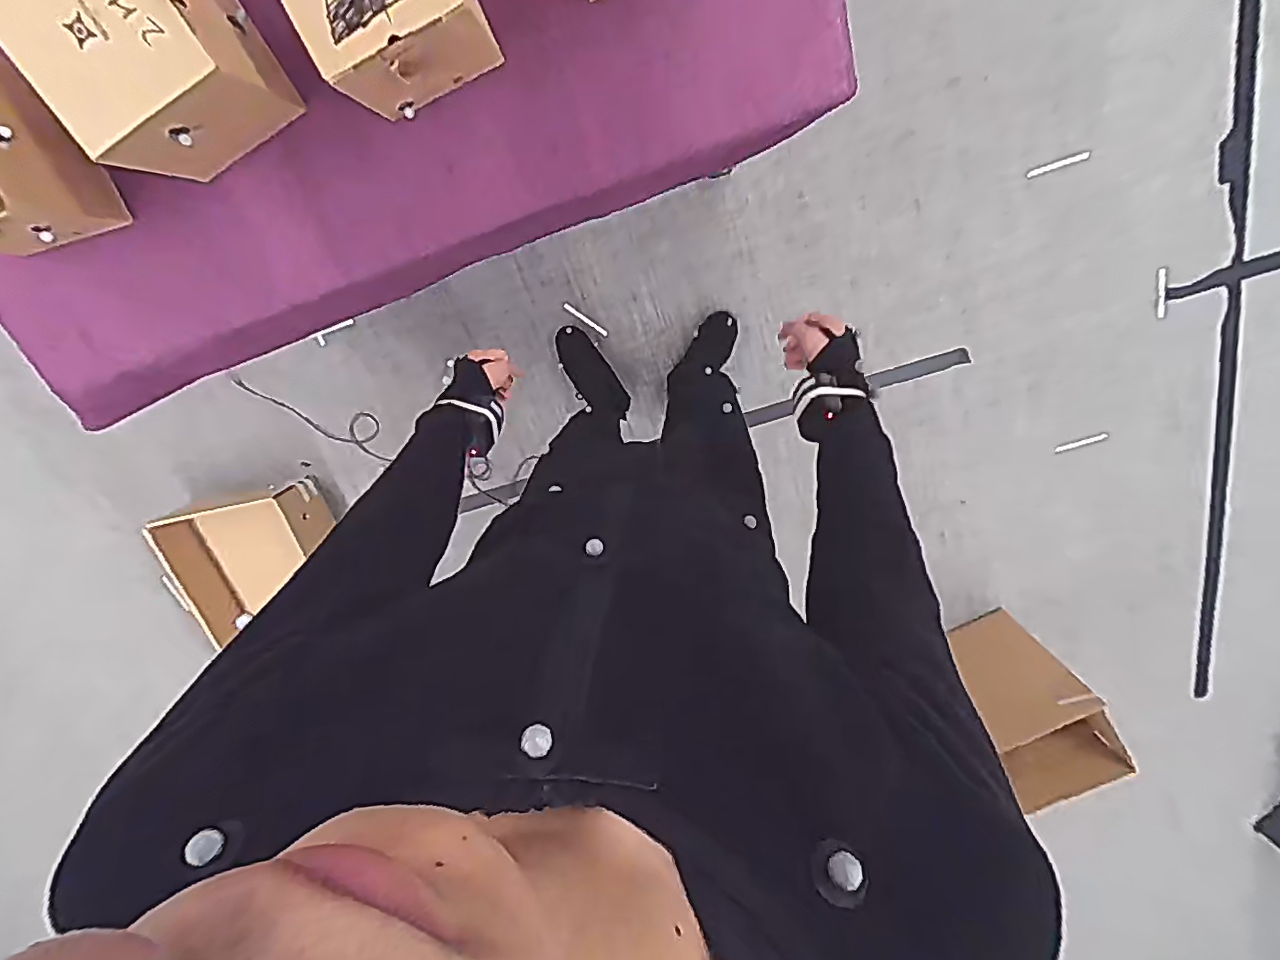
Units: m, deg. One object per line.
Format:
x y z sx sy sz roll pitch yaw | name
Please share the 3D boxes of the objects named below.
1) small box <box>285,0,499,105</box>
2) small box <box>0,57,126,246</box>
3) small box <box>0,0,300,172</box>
-0.272 -0.532 0.571 0.168 0.176 0.179 -22 110 7 | small box
-0.771 -0.376 0.622 0.168 0.176 0.179 -14 111 3 | small box
-0.528 -0.466 0.590 0.179 0.176 0.168 -26 111 9 | small box
